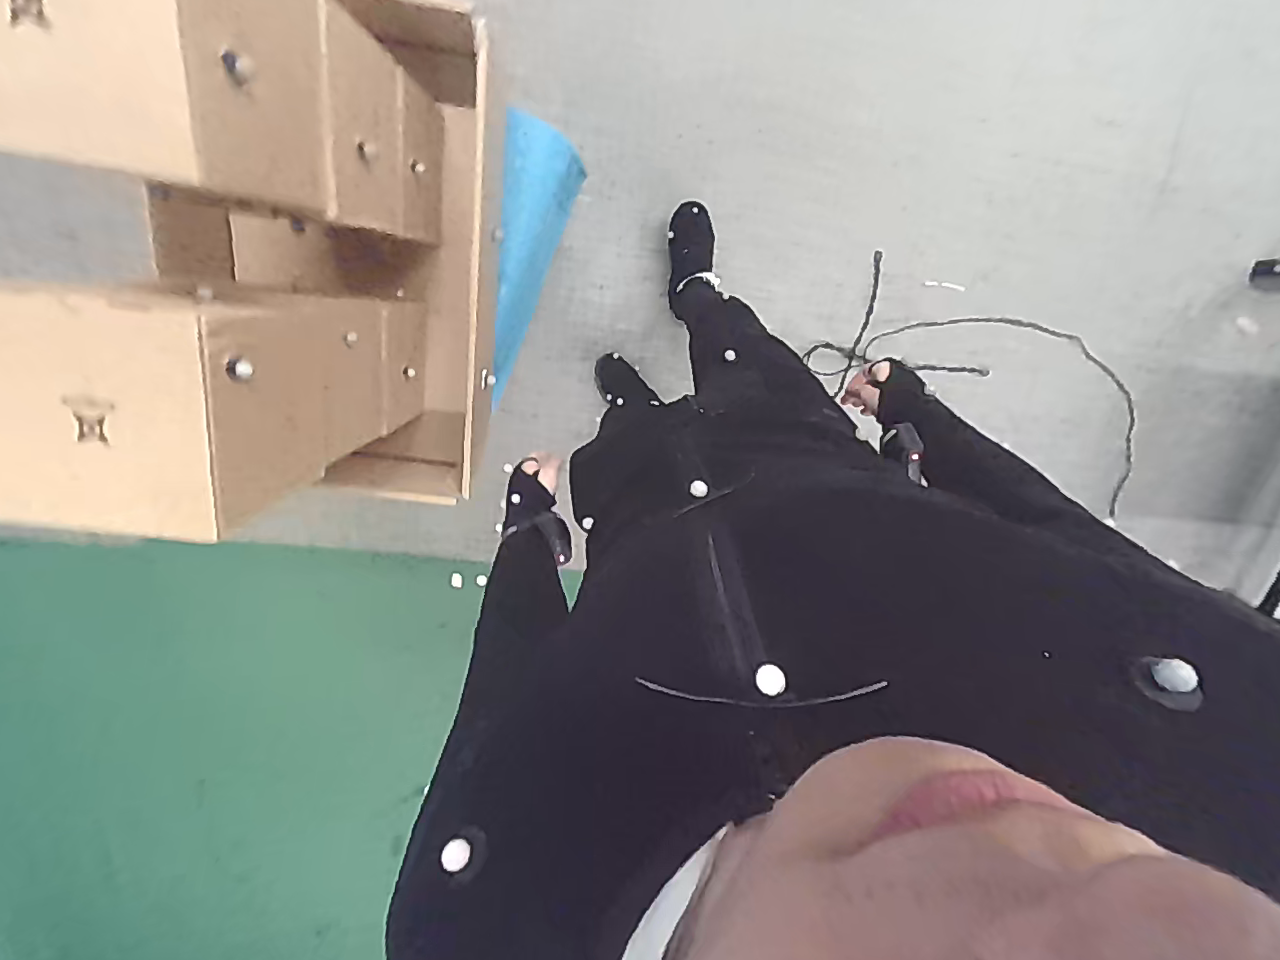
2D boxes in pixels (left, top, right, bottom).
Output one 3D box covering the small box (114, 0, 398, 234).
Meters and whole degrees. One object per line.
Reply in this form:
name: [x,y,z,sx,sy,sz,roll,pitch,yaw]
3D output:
small box: [-0.357,-0.352,0.544,0.168,0.176,0.179,5,112,-6]
